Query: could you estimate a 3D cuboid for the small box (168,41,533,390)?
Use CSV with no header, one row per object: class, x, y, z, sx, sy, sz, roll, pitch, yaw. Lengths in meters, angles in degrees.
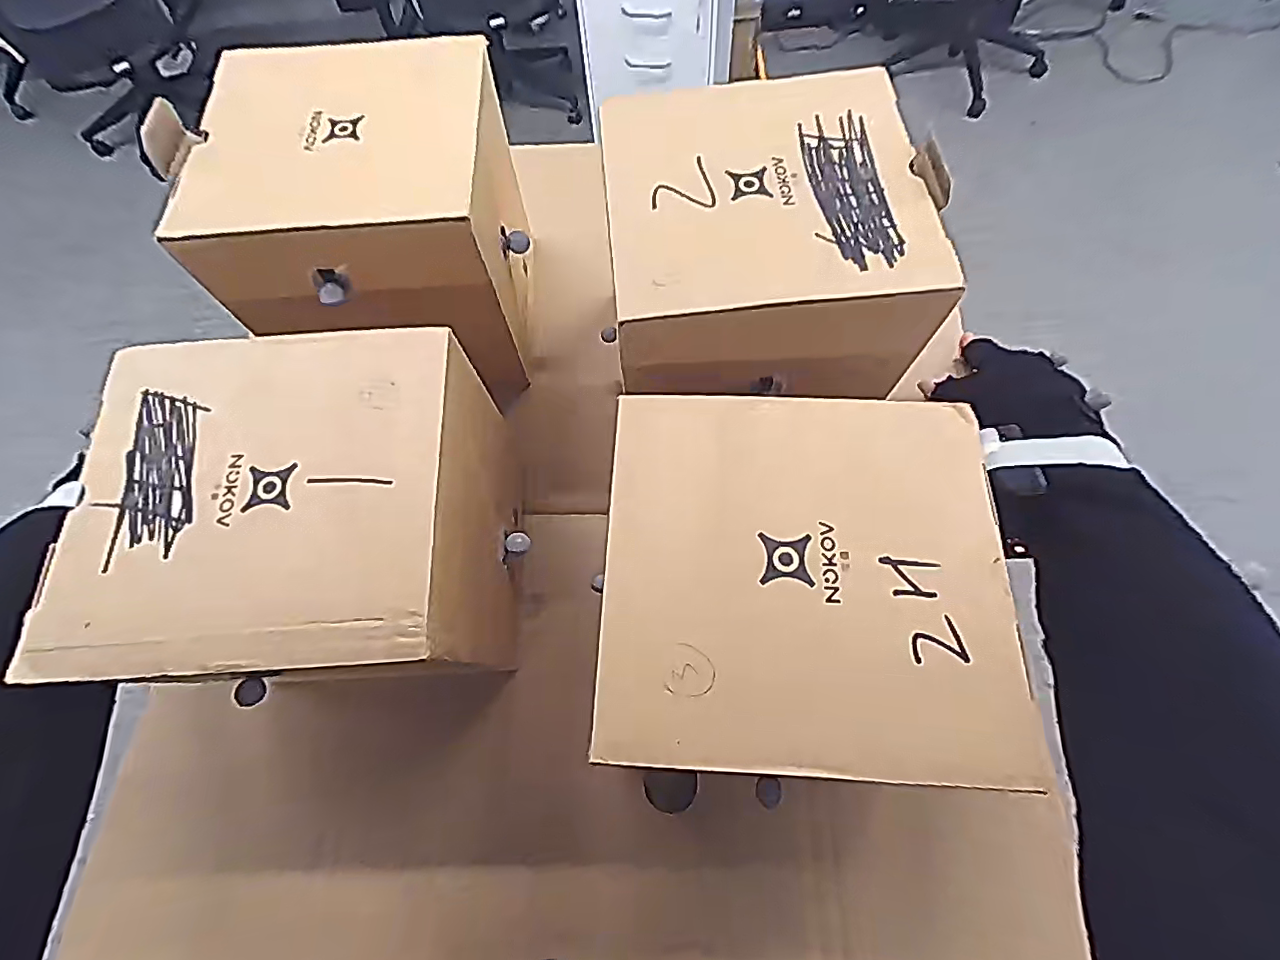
small box,-0.182,-0.184,0.408,0.179,0.176,0.168,-4,66,1
